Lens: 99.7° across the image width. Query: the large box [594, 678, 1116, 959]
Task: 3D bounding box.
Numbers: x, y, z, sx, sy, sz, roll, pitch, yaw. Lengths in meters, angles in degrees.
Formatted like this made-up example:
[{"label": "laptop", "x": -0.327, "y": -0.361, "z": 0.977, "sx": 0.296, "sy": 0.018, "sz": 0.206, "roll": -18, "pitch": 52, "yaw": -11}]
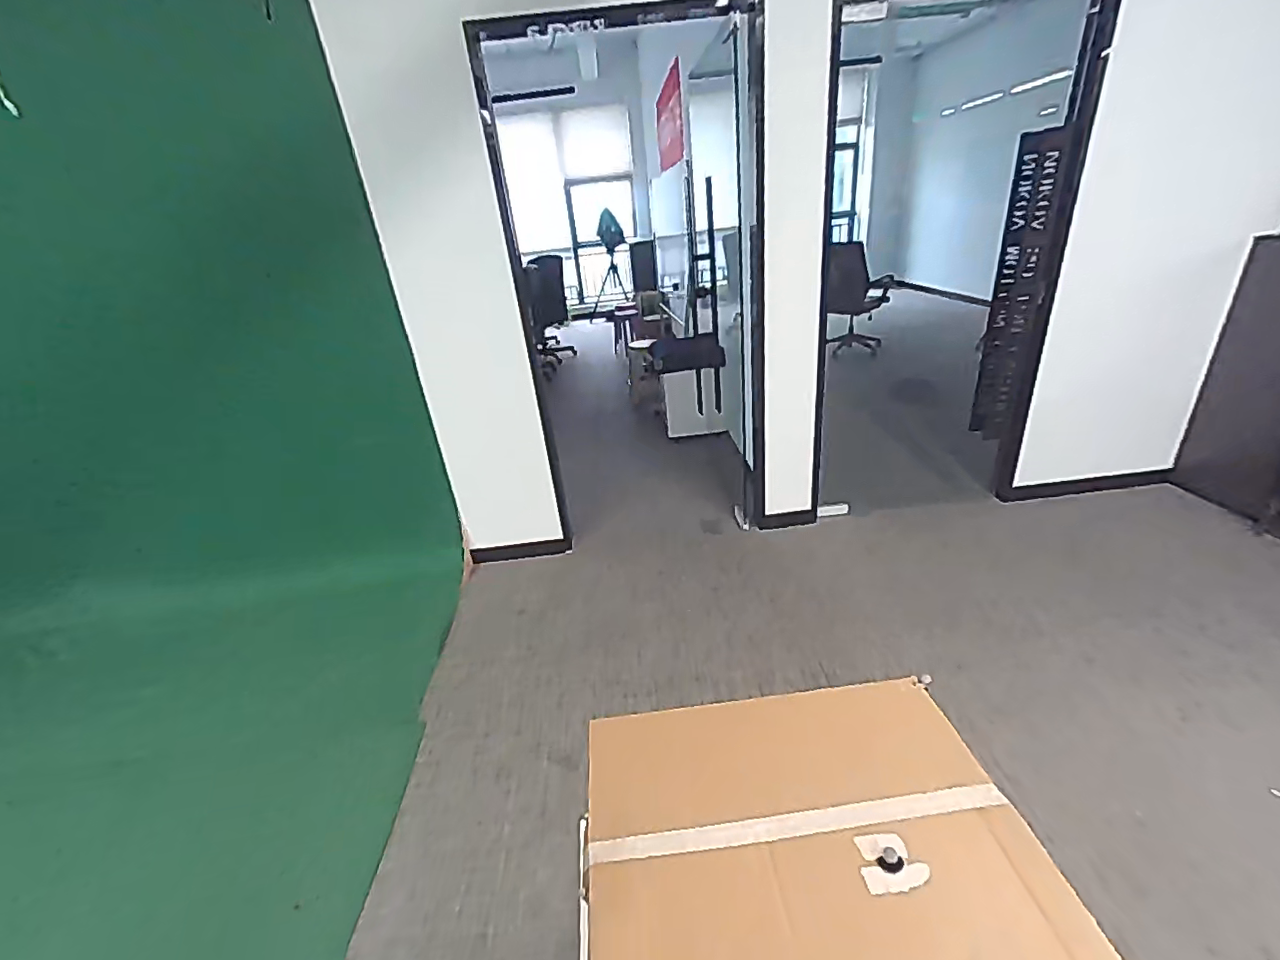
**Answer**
[{"label": "large box", "x": 0.166, "y": 0.467, "z": 0.589, "sx": 0.408, "sy": 0.320, "sz": 0.320, "roll": -6, "pitch": 26, "yaw": -2}]
